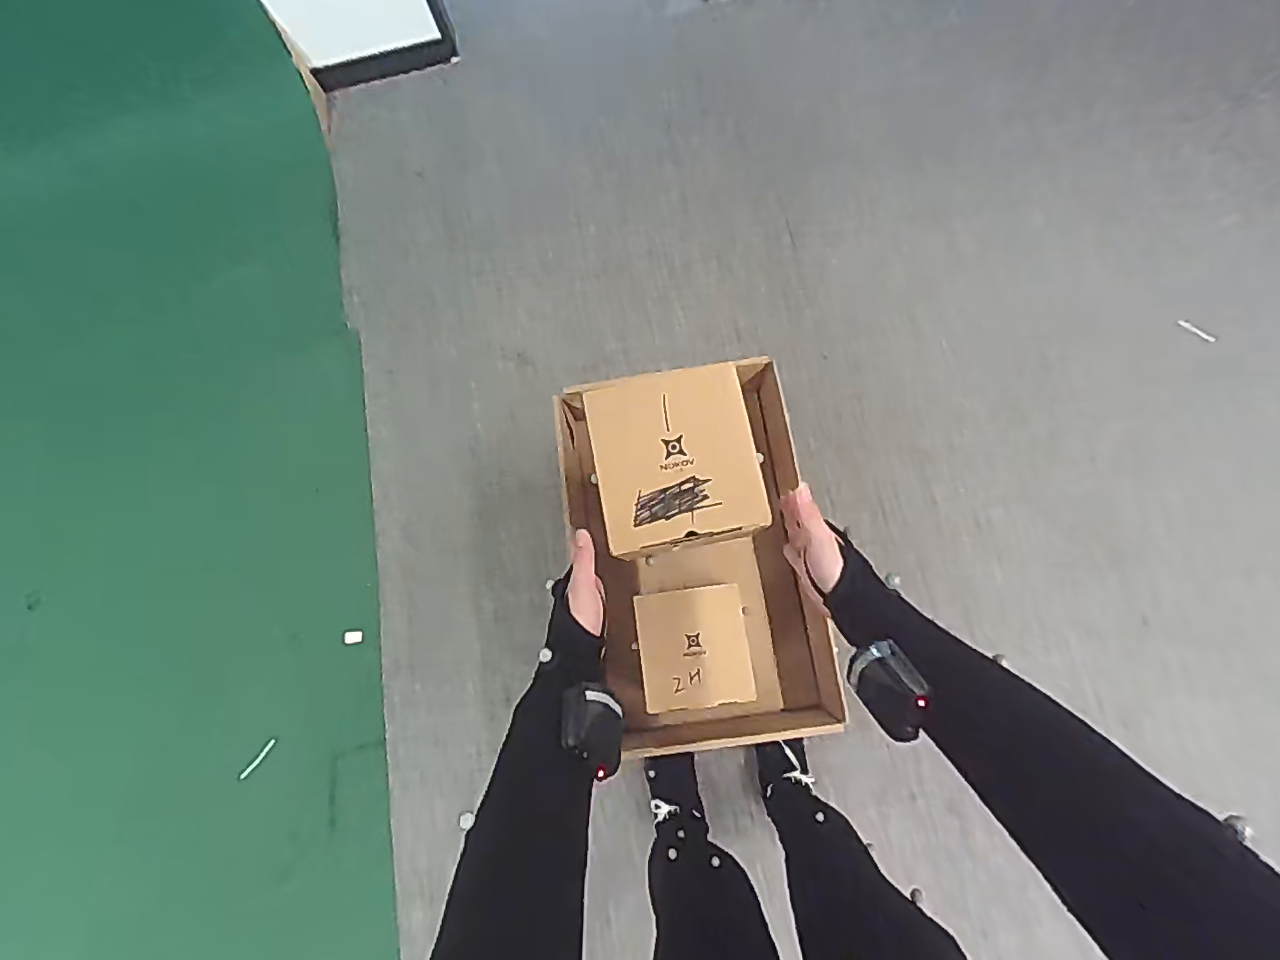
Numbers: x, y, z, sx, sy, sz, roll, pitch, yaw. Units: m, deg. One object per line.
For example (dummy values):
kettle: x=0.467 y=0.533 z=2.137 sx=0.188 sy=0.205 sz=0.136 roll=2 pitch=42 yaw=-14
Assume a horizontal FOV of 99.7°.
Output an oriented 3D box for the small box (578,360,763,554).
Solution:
small box: x=0.036 y=-0.013 z=0.630 sx=0.168 sy=0.176 sz=0.179 roll=-12 pitch=79 yaw=2

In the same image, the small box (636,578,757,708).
small box: x=0.088 y=0.264 z=0.893 sx=0.168 sy=0.176 sz=0.179 roll=-8 pitch=76 yaw=4
